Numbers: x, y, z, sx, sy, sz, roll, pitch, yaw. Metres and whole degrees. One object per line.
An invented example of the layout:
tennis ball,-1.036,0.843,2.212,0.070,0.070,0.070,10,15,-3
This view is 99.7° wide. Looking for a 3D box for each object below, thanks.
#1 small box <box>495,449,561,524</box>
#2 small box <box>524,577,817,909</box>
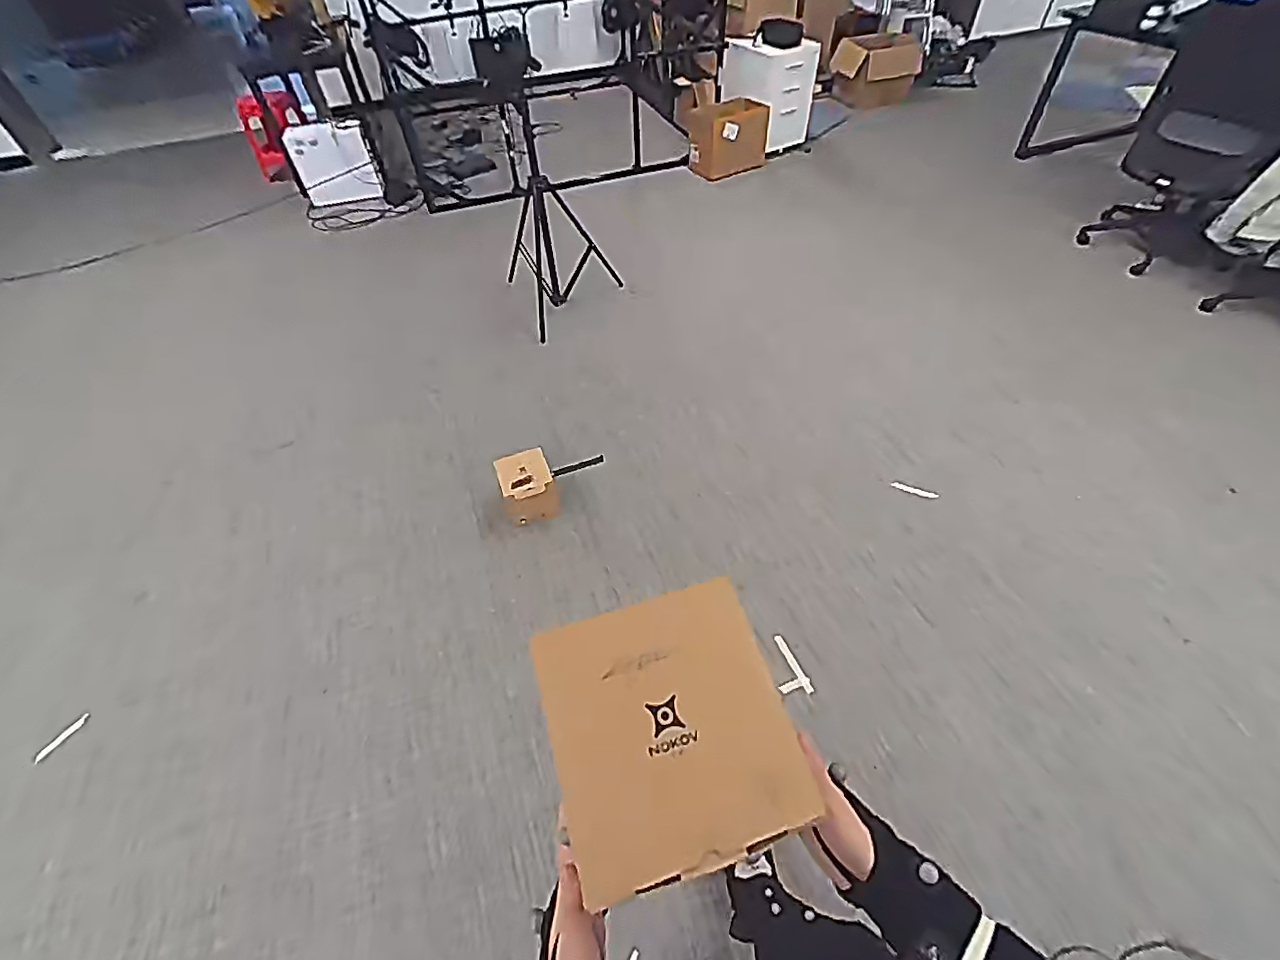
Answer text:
small box,-0.377,0.029,1.842,0.168,0.176,0.179,-19,51,-12
small box,0.015,0.210,0.449,0.168,0.176,0.179,-16,59,-11
